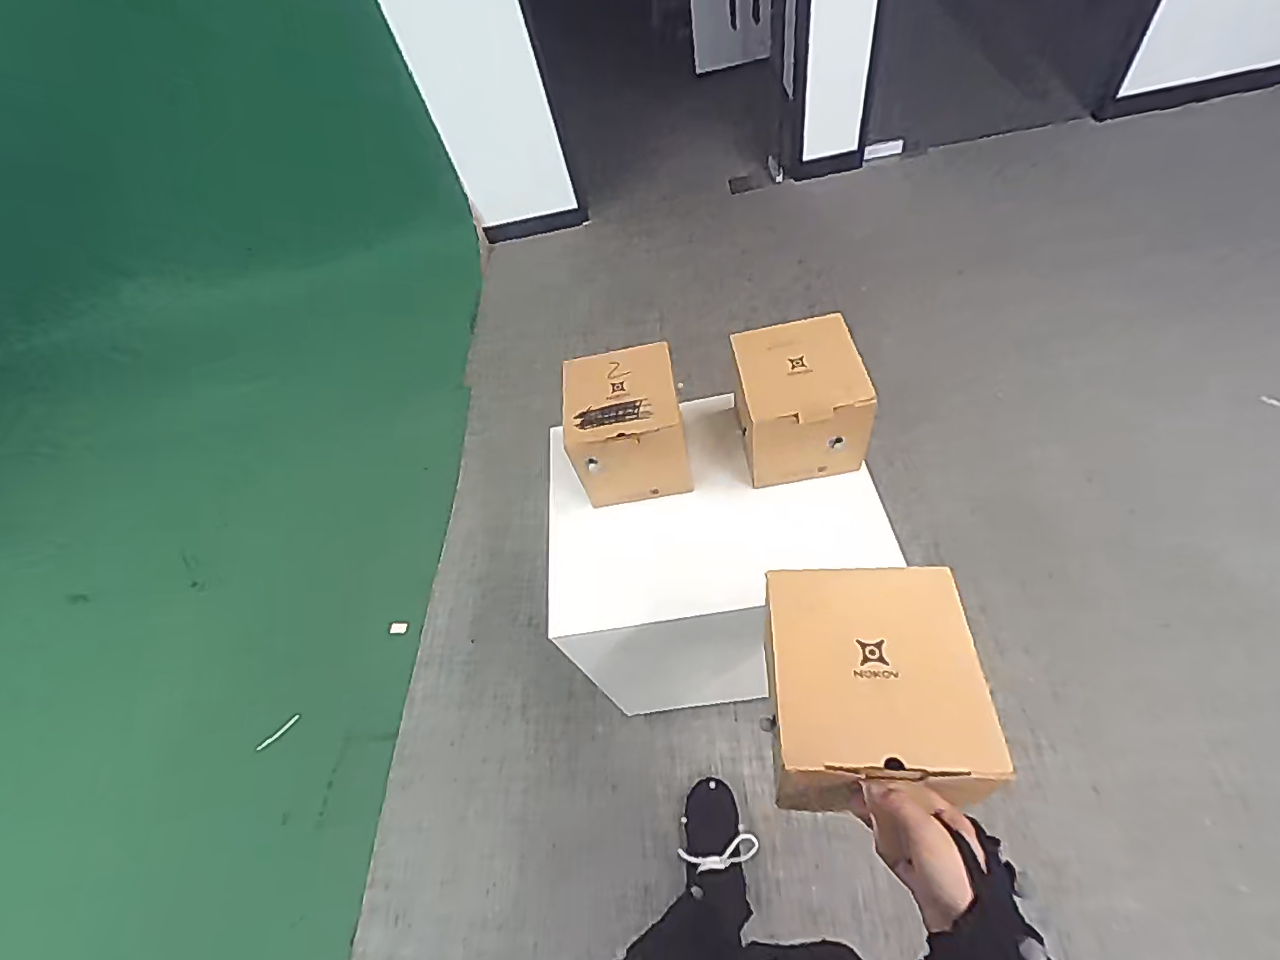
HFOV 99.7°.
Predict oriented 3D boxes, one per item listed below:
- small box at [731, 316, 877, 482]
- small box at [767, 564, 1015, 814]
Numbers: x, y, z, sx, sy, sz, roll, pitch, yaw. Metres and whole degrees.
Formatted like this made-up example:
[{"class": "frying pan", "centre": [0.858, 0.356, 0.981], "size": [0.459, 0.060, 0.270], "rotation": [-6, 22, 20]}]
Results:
[{"class": "small box", "centre": [0.236, -0.112, 0.814], "size": [0.168, 0.176, 0.179], "rotation": [-9, 54, 5]}, {"class": "small box", "centre": [0.211, 0.199, 0.517], "size": [0.168, 0.176, 0.179], "rotation": [-3, 50, 10]}]
